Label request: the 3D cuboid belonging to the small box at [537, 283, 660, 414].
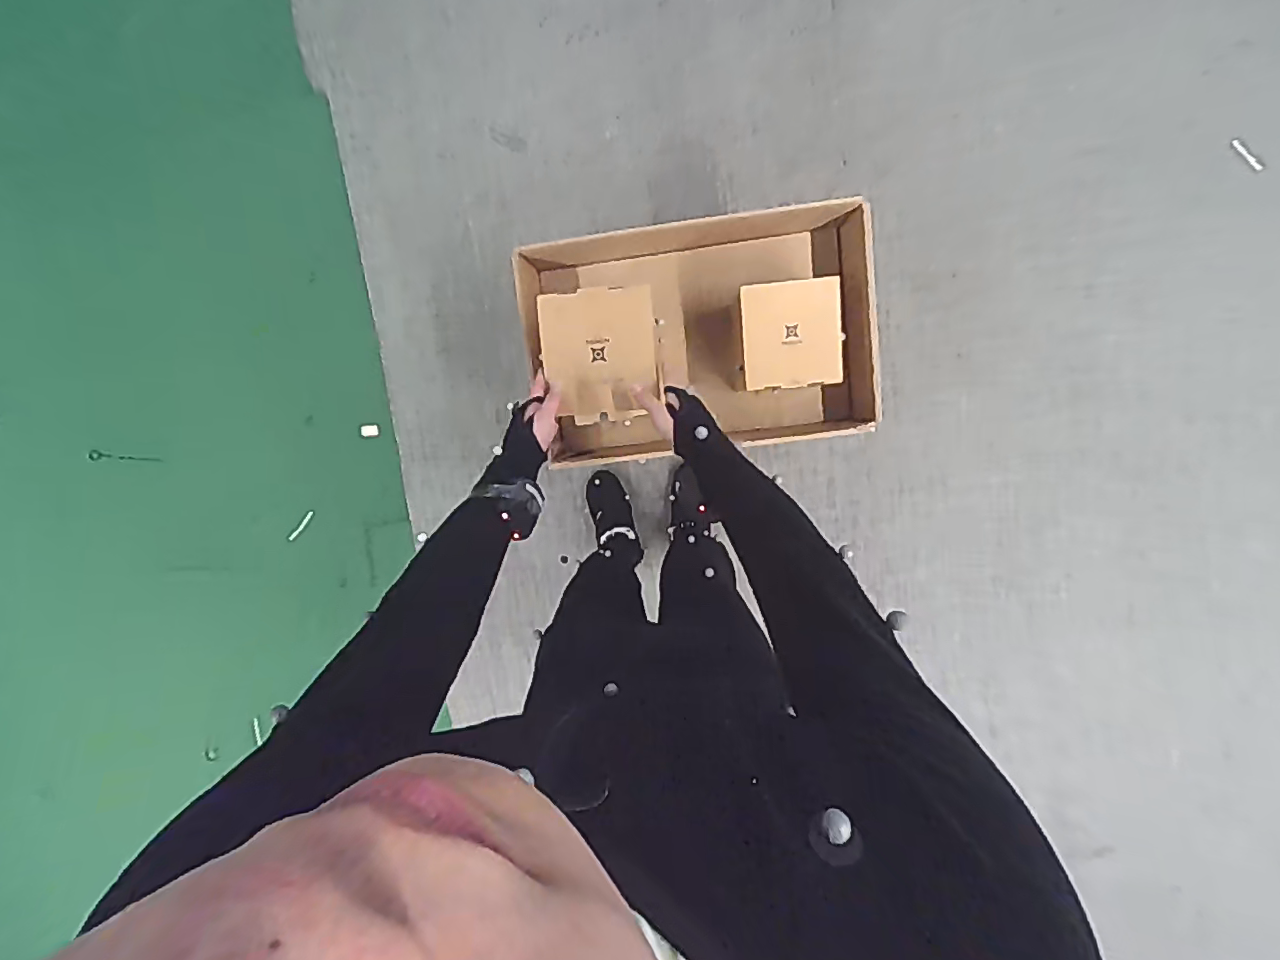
[{"bbox_3d":[-0.056,-0.196,0.848,0.168,0.176,0.179,-4,98,5],"label":"small box"}]
